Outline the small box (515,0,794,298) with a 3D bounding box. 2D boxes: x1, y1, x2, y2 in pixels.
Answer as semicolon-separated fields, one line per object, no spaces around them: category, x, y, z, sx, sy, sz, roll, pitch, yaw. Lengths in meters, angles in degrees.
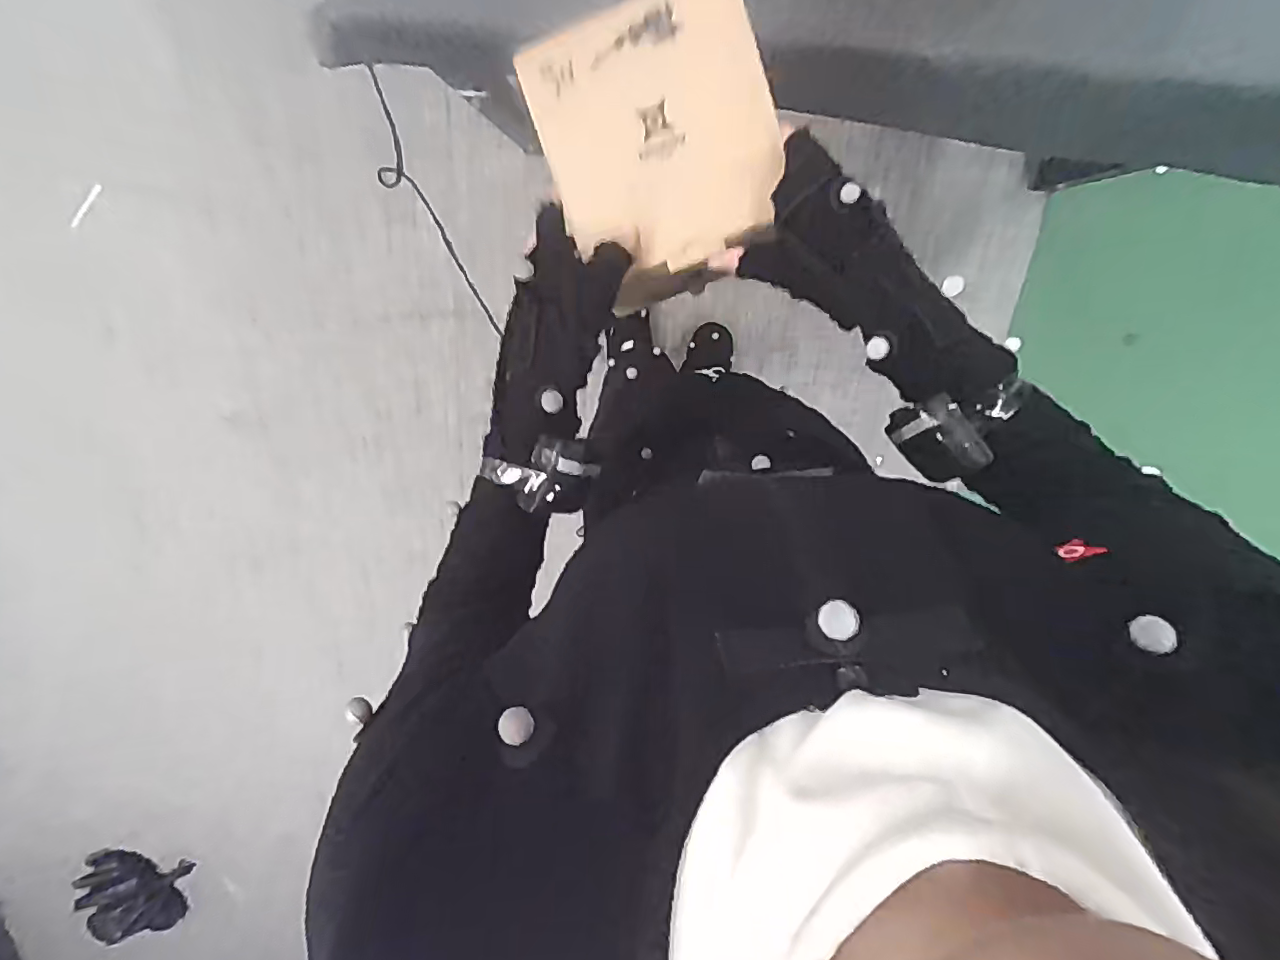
small box;0.018;-0.269;0.469;0.168;0.176;0.179;-18;100;7
